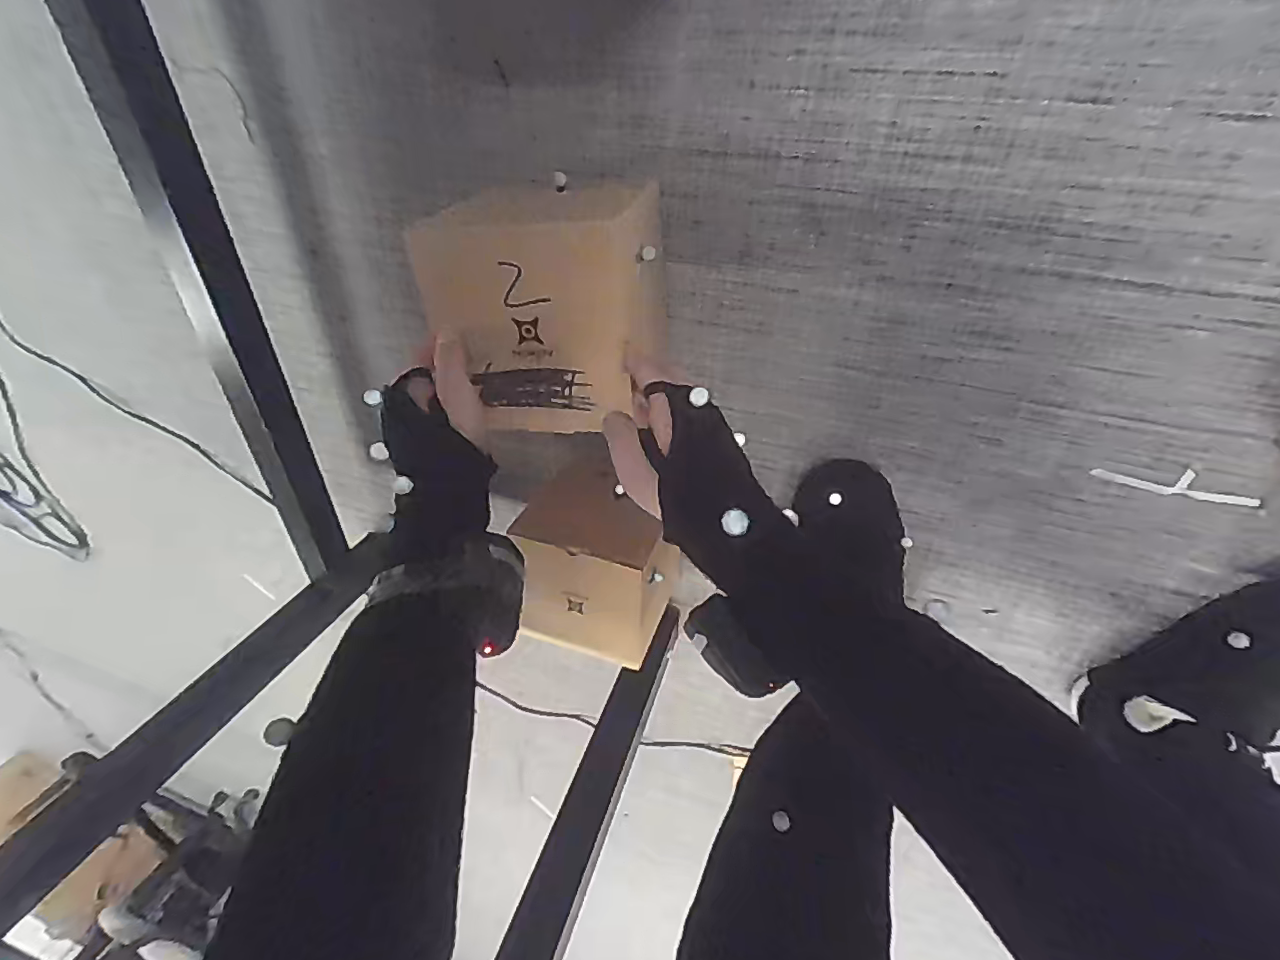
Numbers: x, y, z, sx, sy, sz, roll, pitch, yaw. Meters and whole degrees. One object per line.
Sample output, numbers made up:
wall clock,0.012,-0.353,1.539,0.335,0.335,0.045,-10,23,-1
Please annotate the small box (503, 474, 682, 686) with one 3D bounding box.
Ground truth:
small box,-0.050,0.118,0.686,0.168,0.176,0.179,12,124,16
